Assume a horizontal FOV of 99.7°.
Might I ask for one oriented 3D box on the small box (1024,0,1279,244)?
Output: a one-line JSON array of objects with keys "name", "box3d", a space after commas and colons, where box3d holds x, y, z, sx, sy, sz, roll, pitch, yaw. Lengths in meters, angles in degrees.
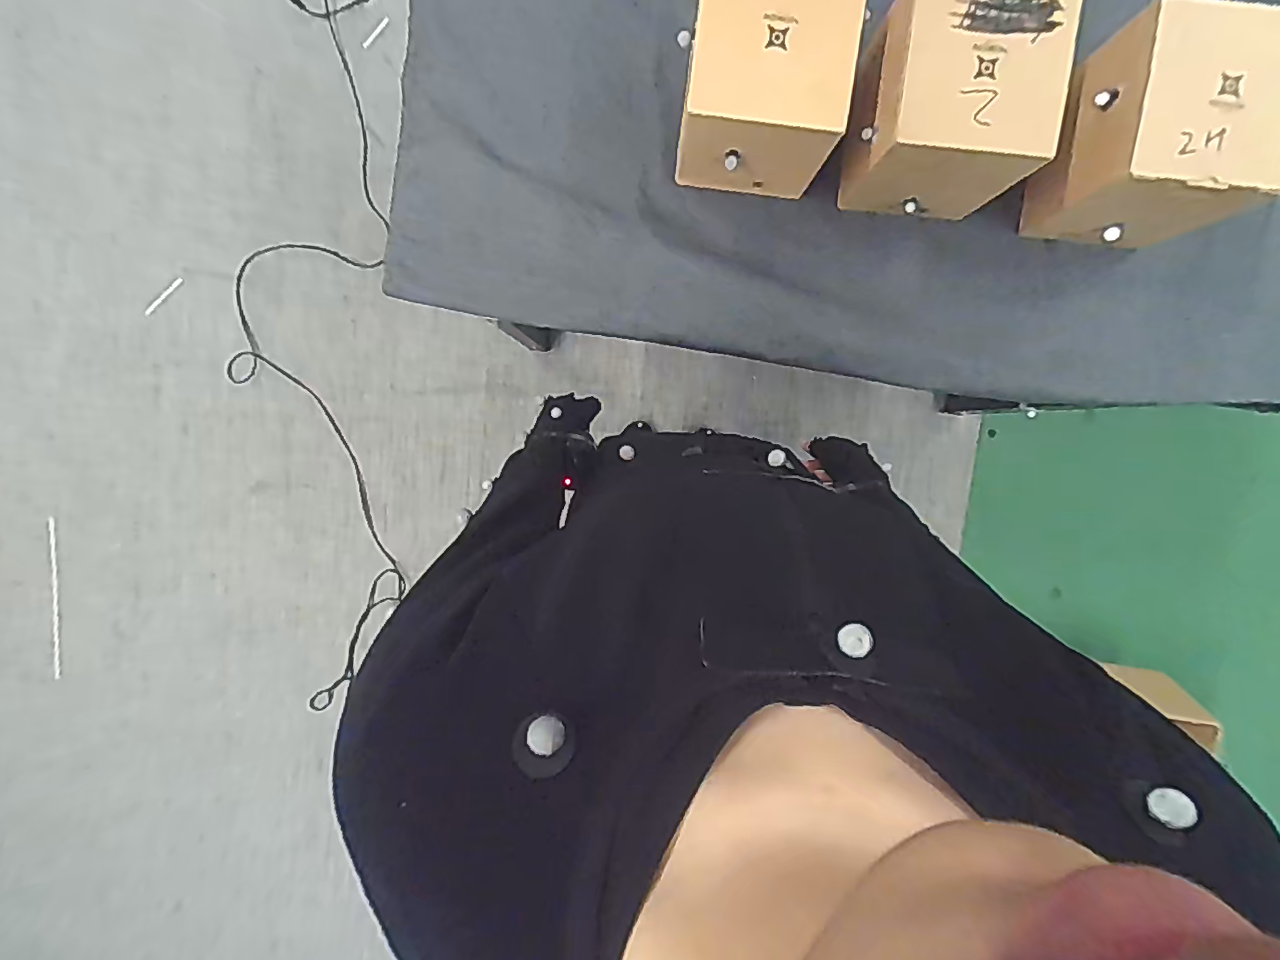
[{"name": "small box", "box3d": [0.584, -0.396, 0.618, 0.168, 0.176, 0.179, 7, 95, 1]}]
